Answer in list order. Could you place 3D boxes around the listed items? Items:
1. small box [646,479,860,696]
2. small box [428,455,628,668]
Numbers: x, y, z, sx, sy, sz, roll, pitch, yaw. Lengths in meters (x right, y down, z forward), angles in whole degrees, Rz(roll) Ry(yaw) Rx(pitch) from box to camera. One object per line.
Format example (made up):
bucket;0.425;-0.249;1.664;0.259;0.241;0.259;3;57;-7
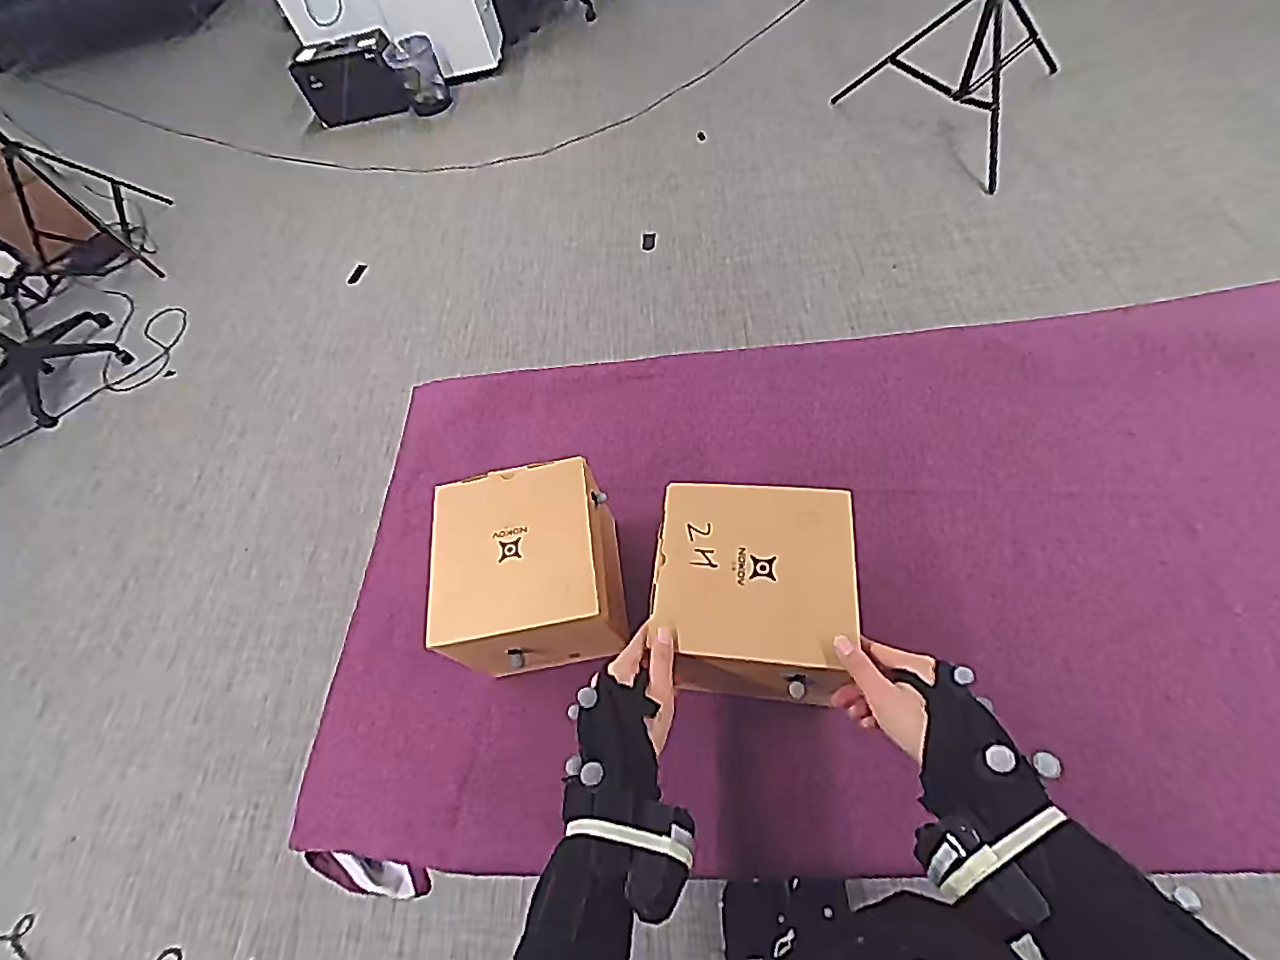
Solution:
small box;0.112;0.115;0.550;0.179;0.176;0.168;2;59;12
small box;-0.116;0.102;0.604;0.168;0.176;0.179;-13;58;4
